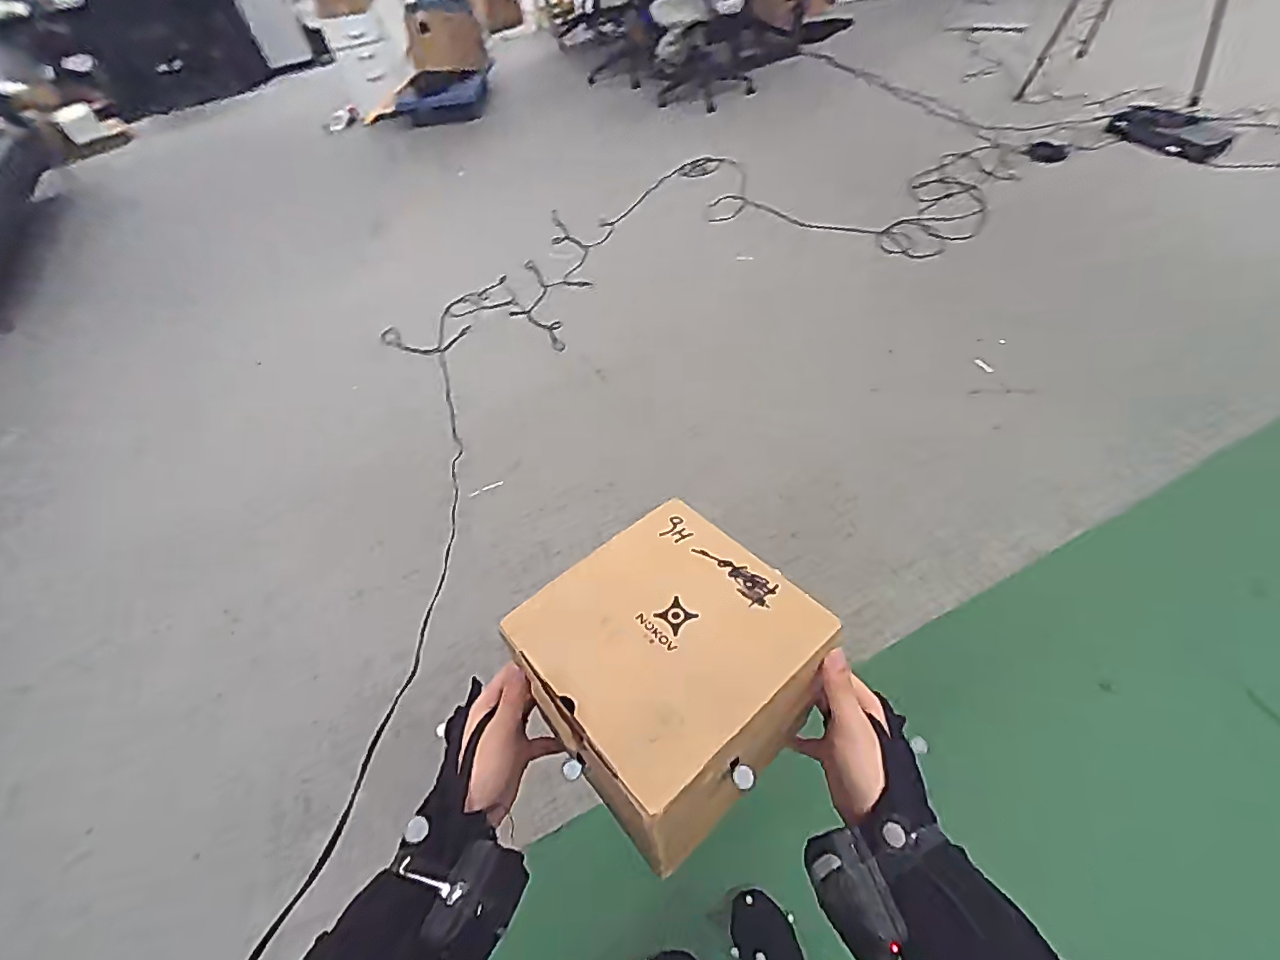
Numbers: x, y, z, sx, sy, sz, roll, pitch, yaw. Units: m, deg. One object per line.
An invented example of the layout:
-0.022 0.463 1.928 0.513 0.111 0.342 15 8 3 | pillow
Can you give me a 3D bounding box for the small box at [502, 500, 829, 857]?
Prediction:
0.023 0.157 0.435 0.179 0.176 0.168 -35 52 -25 | small box
